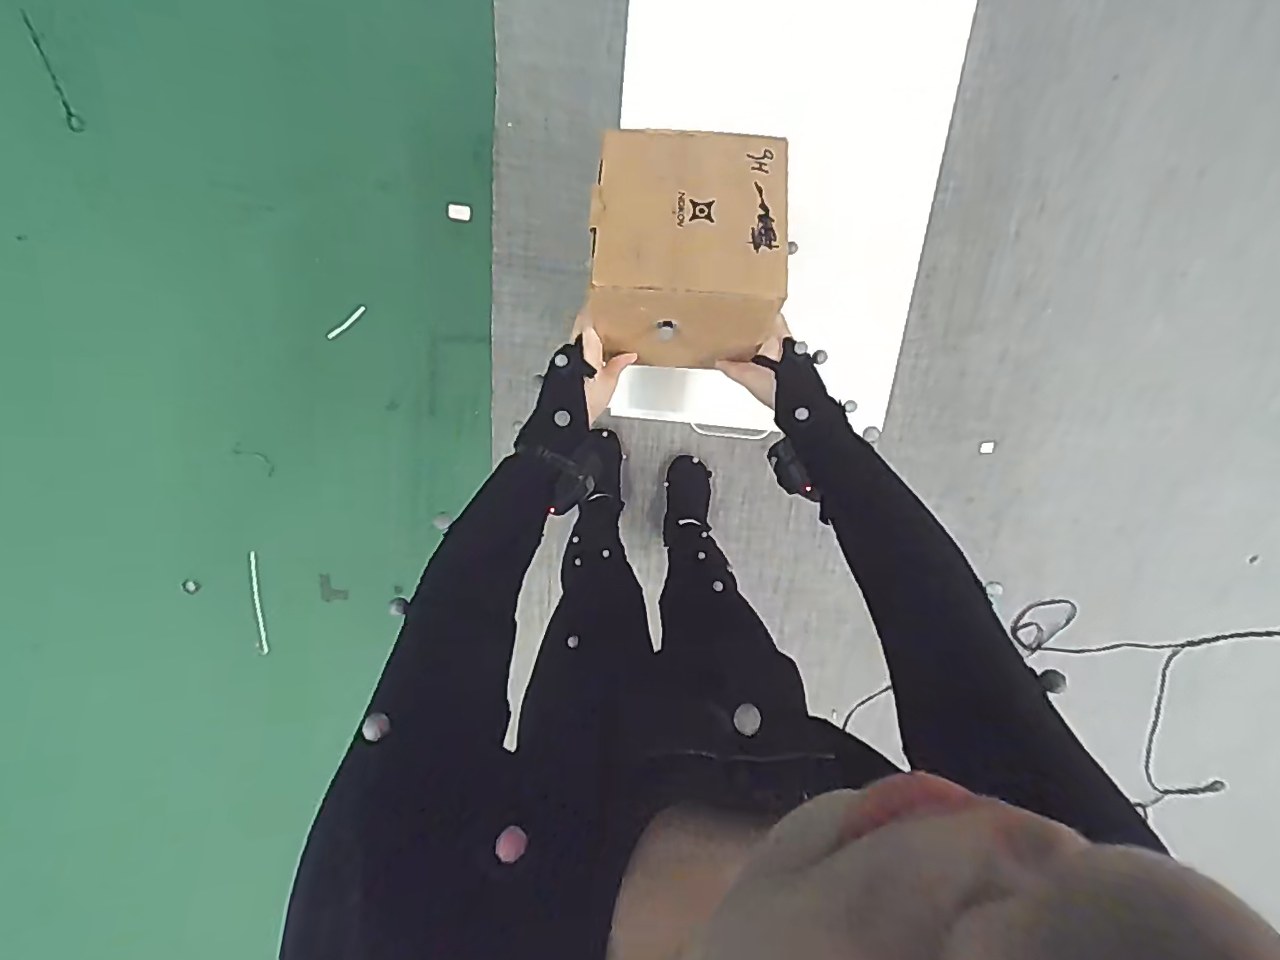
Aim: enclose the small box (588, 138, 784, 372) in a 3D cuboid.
[{"bbox_3d":[0.045,-0.224,0.572,0.179,0.176,0.168,3,79,1],"label":"small box"}]
